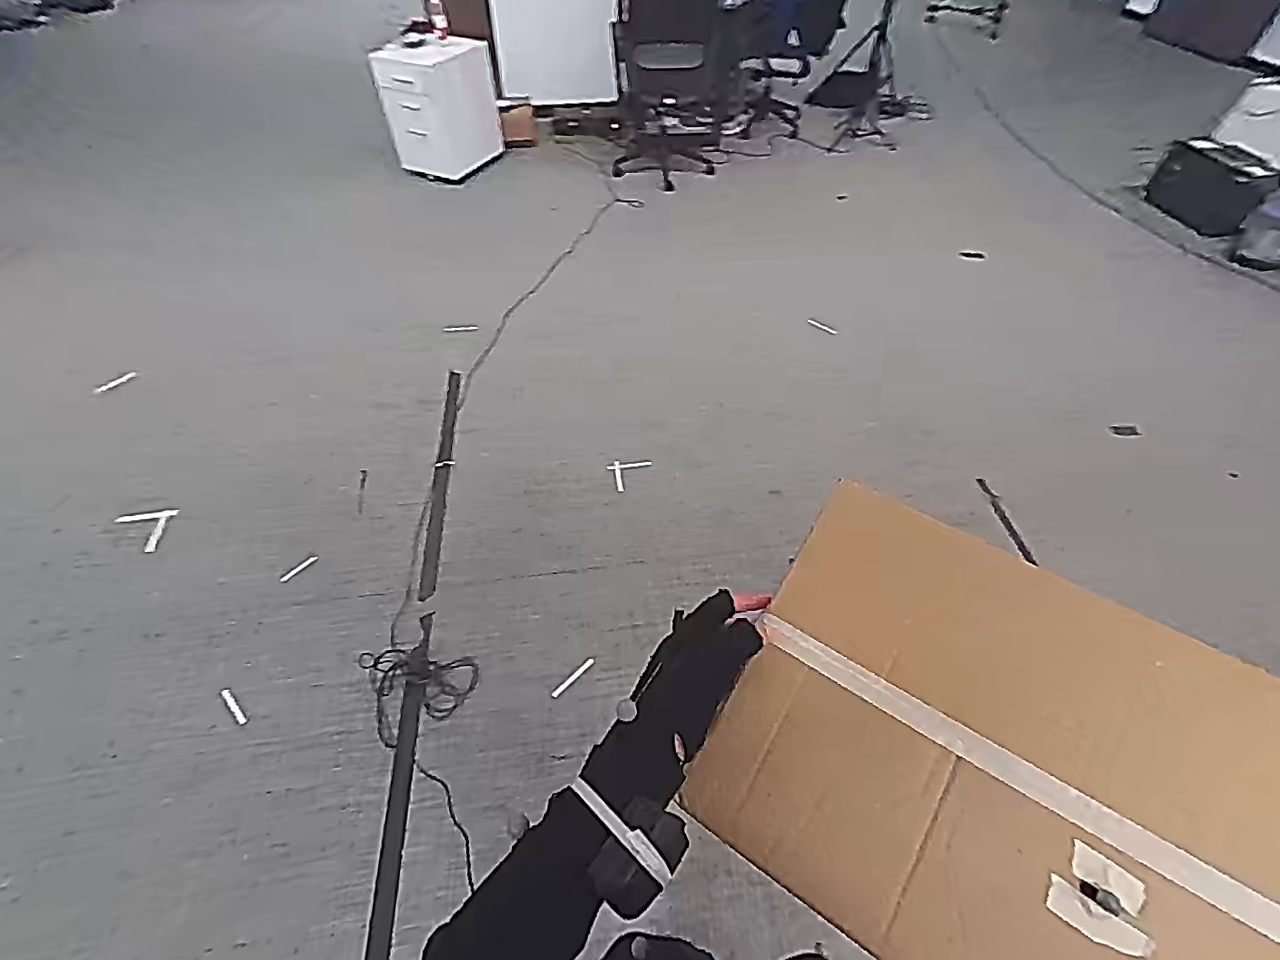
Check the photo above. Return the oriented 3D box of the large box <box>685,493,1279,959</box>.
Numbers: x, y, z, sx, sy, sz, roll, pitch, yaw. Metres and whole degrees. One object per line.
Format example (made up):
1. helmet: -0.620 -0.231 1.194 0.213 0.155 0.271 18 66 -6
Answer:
1. large box: 0.297 0.276 0.544 0.408 0.320 0.320 29 74 20
